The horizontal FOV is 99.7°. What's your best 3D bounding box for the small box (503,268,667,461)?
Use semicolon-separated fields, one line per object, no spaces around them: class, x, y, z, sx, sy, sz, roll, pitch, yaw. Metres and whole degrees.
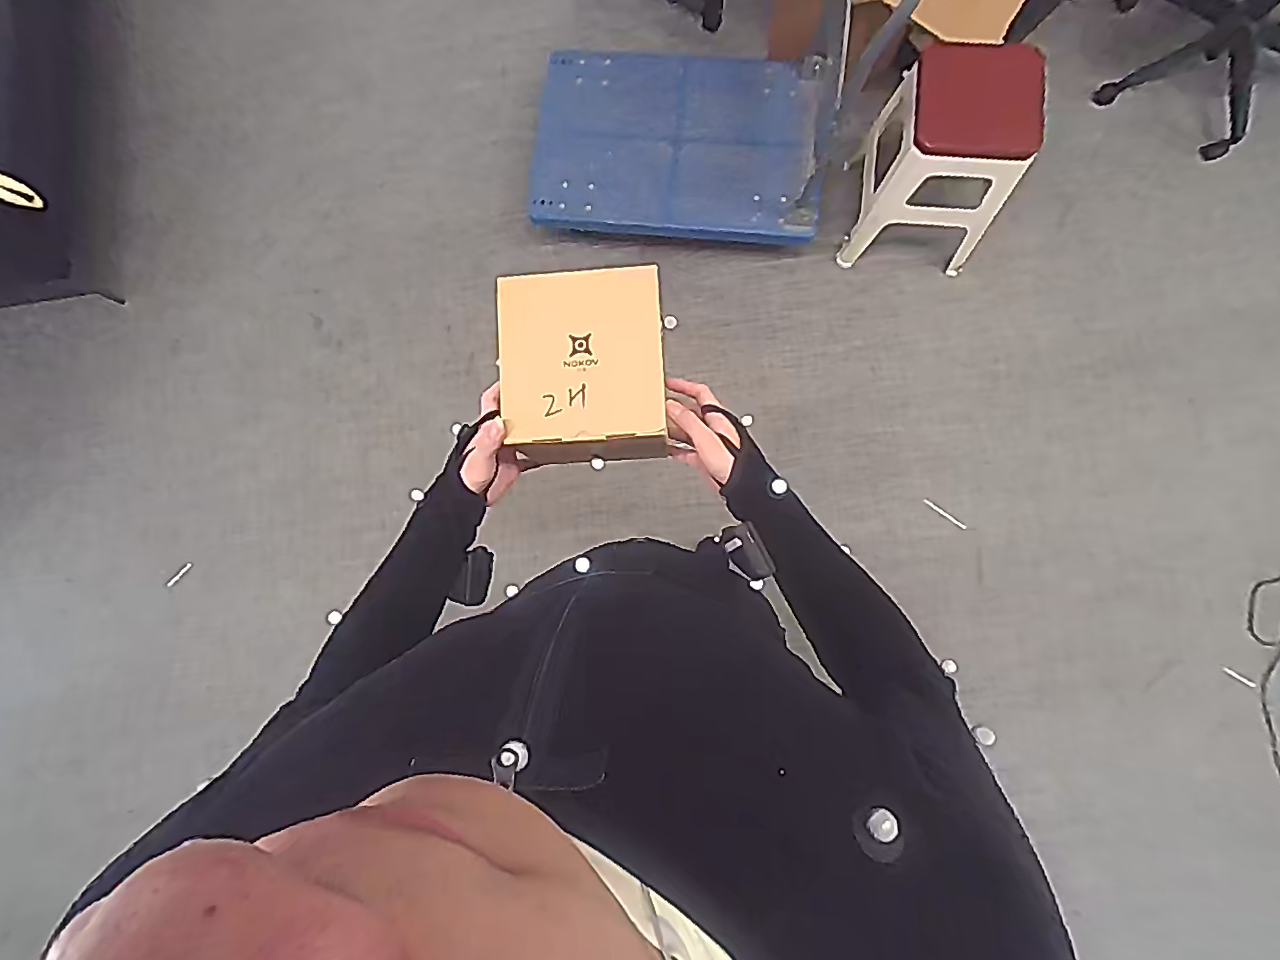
small box;-0.055;-0.122;0.629;0.168;0.176;0.179;-3;85;3
